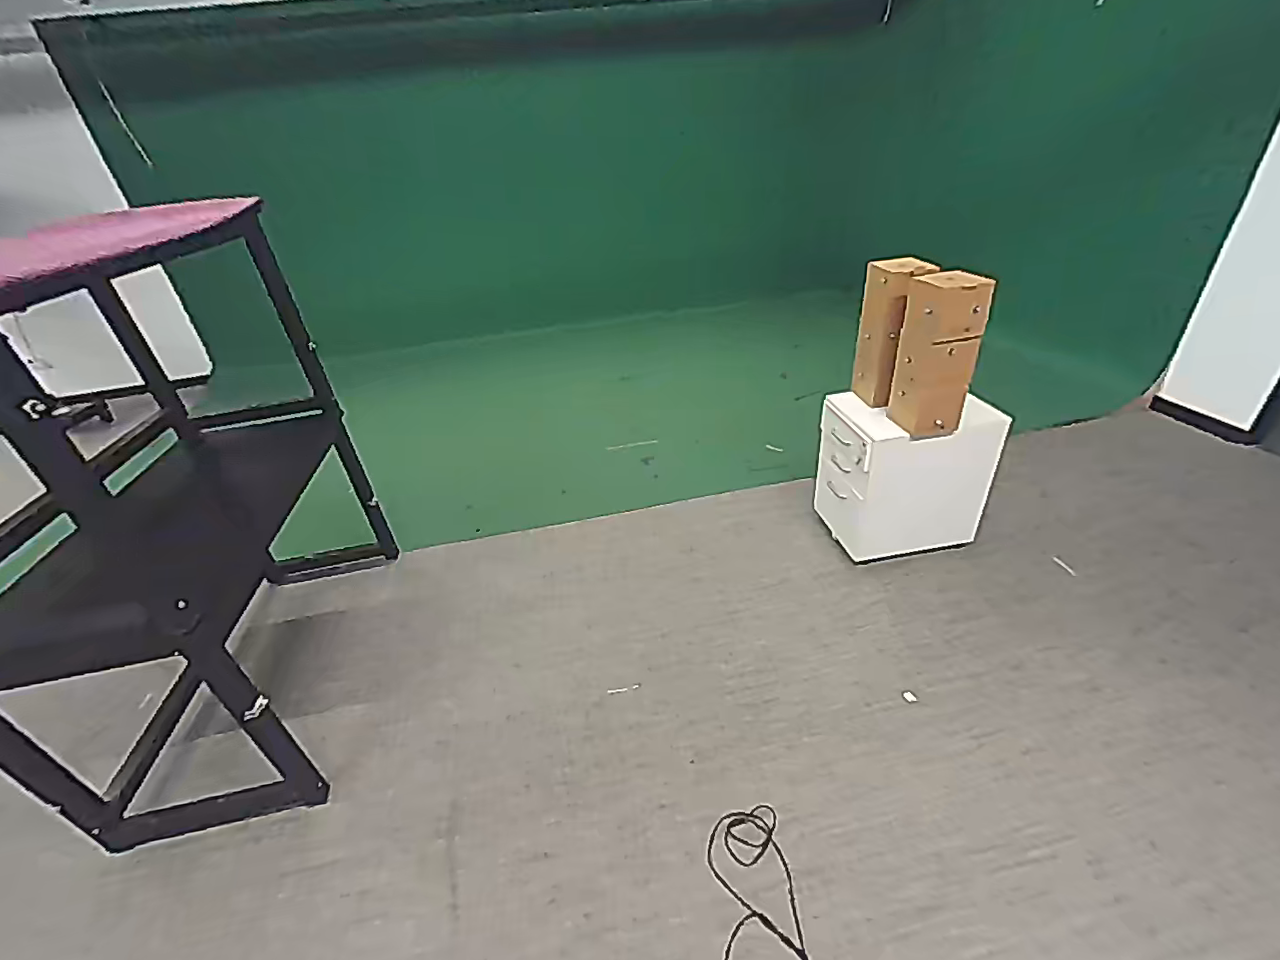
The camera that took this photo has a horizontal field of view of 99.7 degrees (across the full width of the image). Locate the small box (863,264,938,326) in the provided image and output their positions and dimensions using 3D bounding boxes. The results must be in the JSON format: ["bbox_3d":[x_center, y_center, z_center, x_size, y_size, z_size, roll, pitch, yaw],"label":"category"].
[{"bbox_3d":[0.914,-0.657,1.918,0.168,0.176,0.179,-8,34,-5],"label":"small box"}]

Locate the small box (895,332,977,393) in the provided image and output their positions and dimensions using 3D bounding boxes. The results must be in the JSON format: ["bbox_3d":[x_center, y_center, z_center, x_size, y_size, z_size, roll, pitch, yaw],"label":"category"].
[{"bbox_3d":[0.979,-0.401,1.807,0.179,0.176,0.168,-10,33,-7],"label":"small box"}]

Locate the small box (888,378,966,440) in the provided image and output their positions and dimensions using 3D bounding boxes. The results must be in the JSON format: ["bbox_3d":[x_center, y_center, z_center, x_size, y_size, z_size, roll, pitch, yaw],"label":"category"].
[{"bbox_3d":[0.992,-0.257,1.888,0.168,0.176,0.179,-9,32,-4],"label":"small box"}]

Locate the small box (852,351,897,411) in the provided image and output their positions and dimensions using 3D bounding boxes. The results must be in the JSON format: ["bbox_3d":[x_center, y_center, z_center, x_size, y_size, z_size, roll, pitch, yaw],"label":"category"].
[{"bbox_3d":[0.941,-0.384,2.095,0.168,0.176,0.179,-9,33,-4],"label":"small box"}]

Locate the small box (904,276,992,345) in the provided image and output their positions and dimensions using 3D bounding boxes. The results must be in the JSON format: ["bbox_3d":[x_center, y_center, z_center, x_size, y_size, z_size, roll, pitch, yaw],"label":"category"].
[{"bbox_3d":[0.968,-0.534,1.715,0.168,0.176,0.179,-9,31,-5],"label":"small box"}]
